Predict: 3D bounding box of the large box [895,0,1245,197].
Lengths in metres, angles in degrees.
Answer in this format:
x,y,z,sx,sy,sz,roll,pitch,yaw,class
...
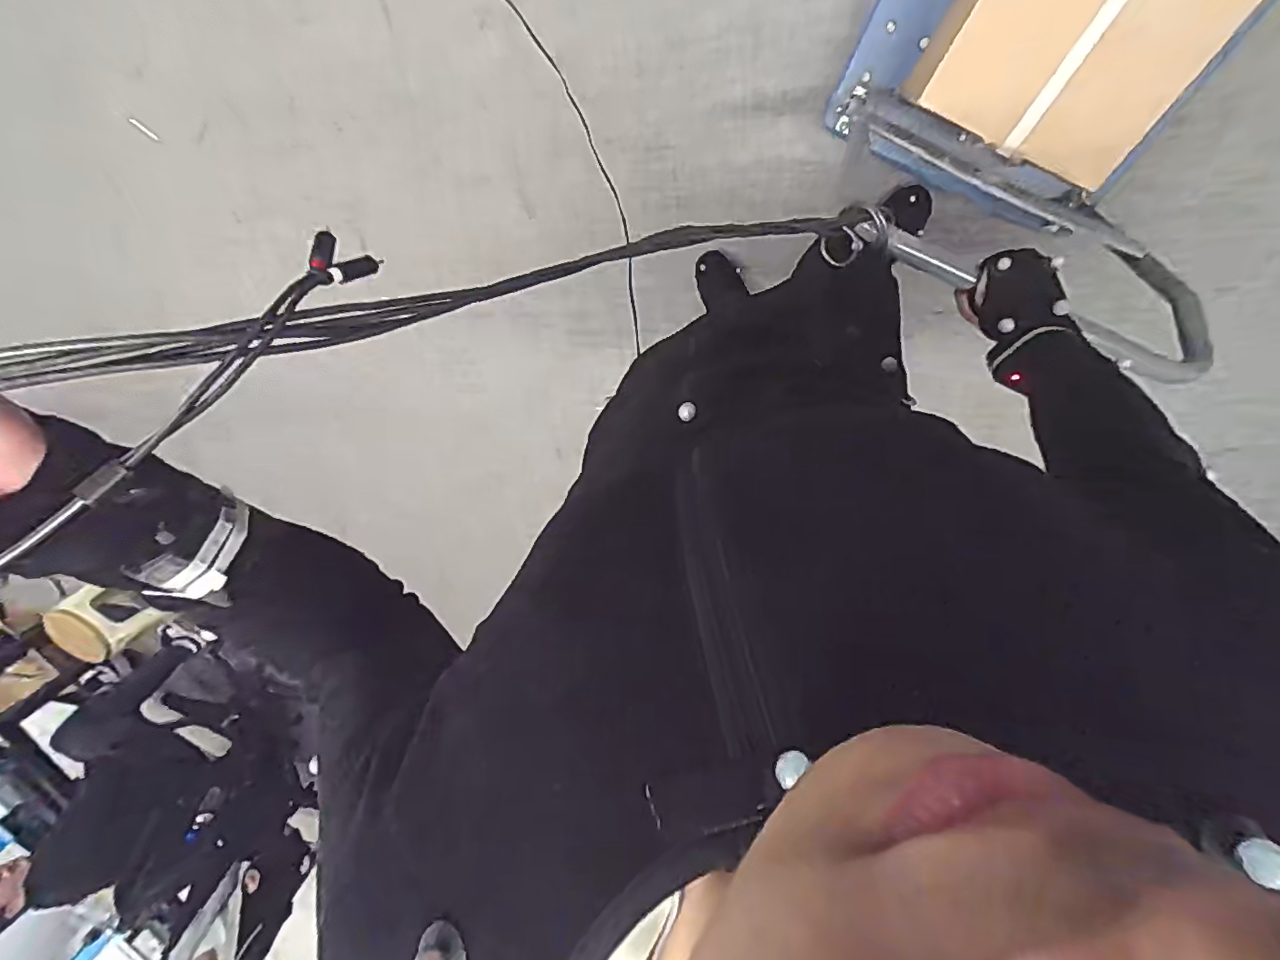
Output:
x,y,z,sx,sy,sz,roll,pitch,yaw,class
0.670,-0.733,0.851,0.320,0.320,0.408,28,129,-1,large box
